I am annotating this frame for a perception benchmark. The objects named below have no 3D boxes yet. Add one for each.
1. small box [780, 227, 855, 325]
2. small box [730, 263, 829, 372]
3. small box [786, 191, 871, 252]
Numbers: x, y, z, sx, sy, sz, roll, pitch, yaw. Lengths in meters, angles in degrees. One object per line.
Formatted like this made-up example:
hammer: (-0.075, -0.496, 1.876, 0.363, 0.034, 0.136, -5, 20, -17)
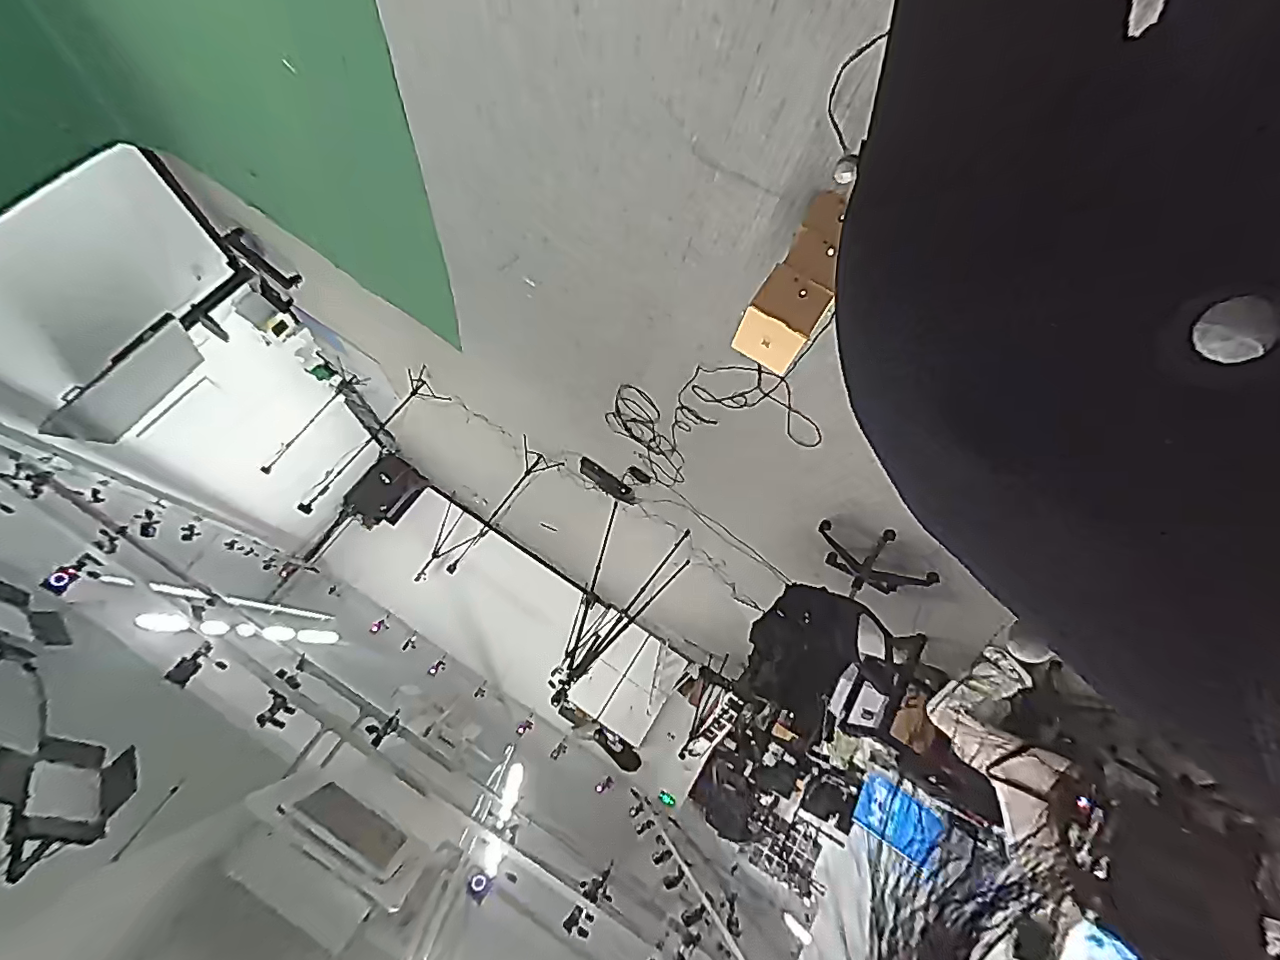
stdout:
small box: (0.457, -0.544, 1.476, 0.168, 0.176, 0.179, 32, 159, 5)
small box: (0.365, -0.424, 1.415, 0.168, 0.176, 0.179, 32, 159, 7)
small box: (0.529, -0.678, 1.538, 0.168, 0.176, 0.179, 32, 160, 9)
